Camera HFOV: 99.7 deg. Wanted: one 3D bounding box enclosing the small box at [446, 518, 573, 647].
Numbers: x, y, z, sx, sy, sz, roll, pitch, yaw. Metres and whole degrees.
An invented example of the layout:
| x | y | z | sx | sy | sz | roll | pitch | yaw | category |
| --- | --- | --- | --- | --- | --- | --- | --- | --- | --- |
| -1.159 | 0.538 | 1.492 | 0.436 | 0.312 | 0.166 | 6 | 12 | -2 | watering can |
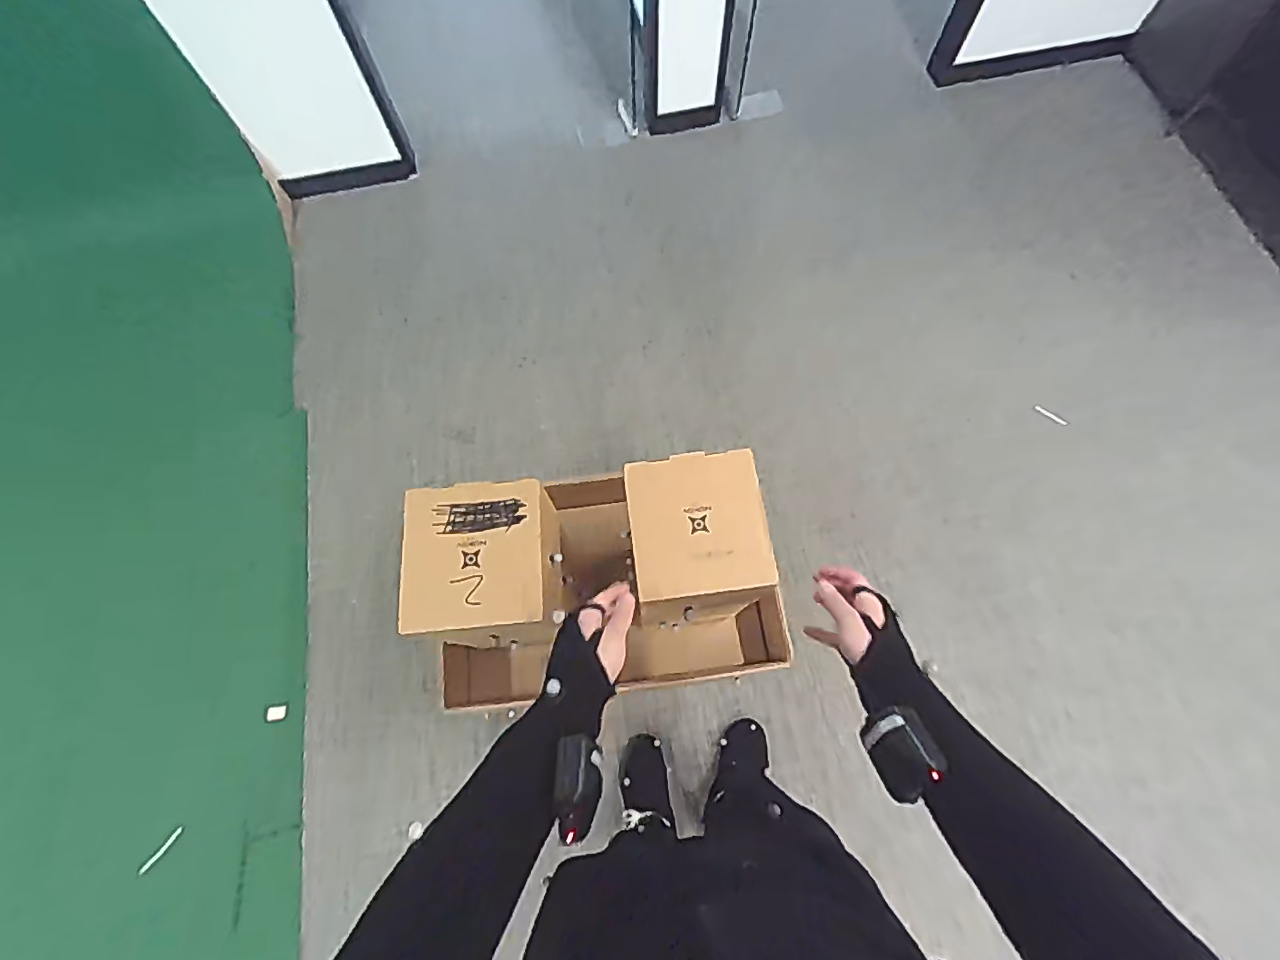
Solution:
| x | y | z | sx | sy | sz | roll | pitch | yaw | category |
| --- | --- | --- | --- | --- | --- | --- | --- | --- | --- |
| -0.202 | 0.173 | 0.871 | 0.168 | 0.176 | 0.179 | -5 | 70 | -2 | small box |

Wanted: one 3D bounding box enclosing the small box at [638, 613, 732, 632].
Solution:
| x | y | z | sx | sy | sz | roll | pitch | yaw | category |
| --- | --- | --- | --- | --- | --- | --- | --- | --- | --- |
| 0.074 | 0.192 | 1.034 | 0.168 | 0.176 | 0.179 | -7 | 69 | -1 | small box |

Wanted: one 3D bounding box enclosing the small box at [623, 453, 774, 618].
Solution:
| x | y | z | sx | sy | sz | roll | pitch | yaw | category |
| --- | --- | --- | --- | --- | --- | --- | --- | --- | --- |
| 0.067 | 0.081 | 0.727 | 0.168 | 0.176 | 0.179 | -7 | 70 | -1 | small box |
